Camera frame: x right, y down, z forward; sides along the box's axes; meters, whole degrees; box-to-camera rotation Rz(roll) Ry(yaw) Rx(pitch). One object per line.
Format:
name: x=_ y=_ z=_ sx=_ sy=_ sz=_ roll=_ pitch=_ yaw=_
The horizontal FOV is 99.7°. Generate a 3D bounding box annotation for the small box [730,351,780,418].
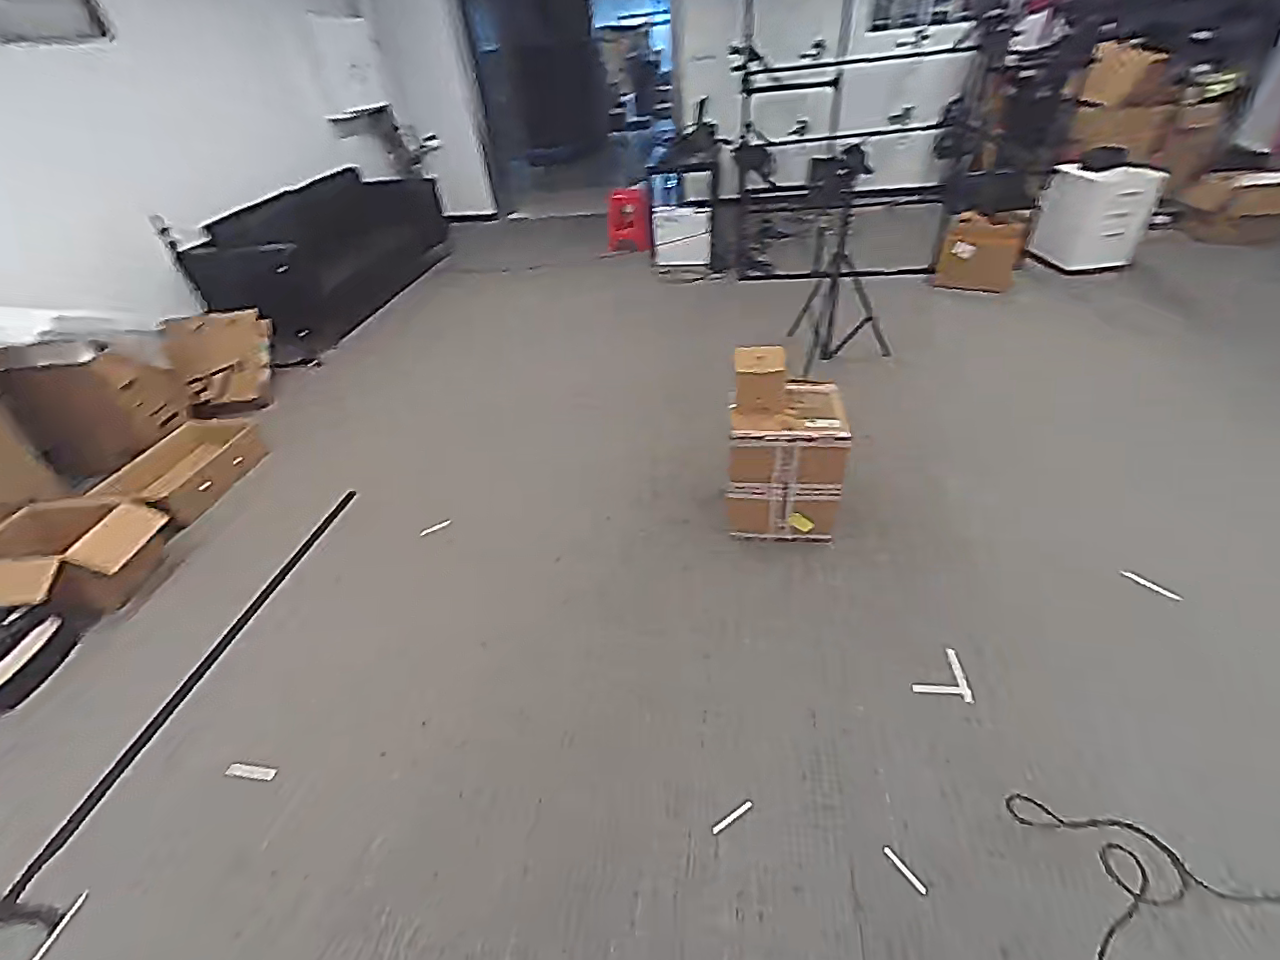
small box: x=0.403 y=-0.338 z=1.909 sx=0.168 sy=0.176 sz=0.179 roll=0 pitch=41 yaw=11
